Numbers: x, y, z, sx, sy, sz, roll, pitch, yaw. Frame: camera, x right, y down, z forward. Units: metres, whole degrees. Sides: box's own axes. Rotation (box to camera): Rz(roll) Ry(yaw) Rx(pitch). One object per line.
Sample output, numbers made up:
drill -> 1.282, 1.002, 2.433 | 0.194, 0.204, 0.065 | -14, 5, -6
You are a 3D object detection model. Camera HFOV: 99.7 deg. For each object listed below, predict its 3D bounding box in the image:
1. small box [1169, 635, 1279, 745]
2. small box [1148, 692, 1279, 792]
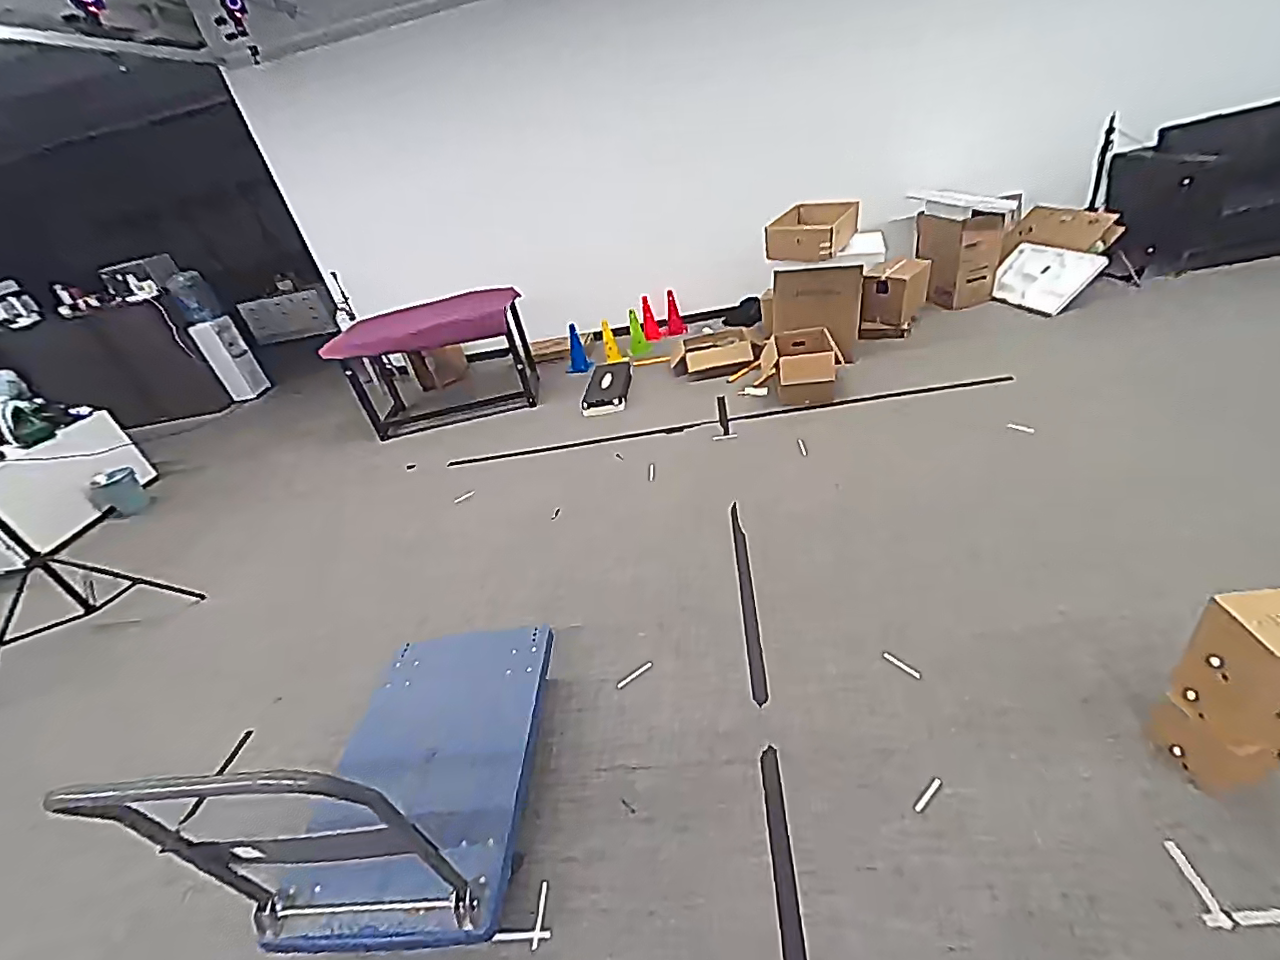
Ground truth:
small box -> 1.368, 0.474, 1.217 | 0.179, 0.176, 0.168 | -8, 33, 9
small box -> 1.392, 0.613, 1.300 | 0.179, 0.176, 0.168 | -14, 32, -2
